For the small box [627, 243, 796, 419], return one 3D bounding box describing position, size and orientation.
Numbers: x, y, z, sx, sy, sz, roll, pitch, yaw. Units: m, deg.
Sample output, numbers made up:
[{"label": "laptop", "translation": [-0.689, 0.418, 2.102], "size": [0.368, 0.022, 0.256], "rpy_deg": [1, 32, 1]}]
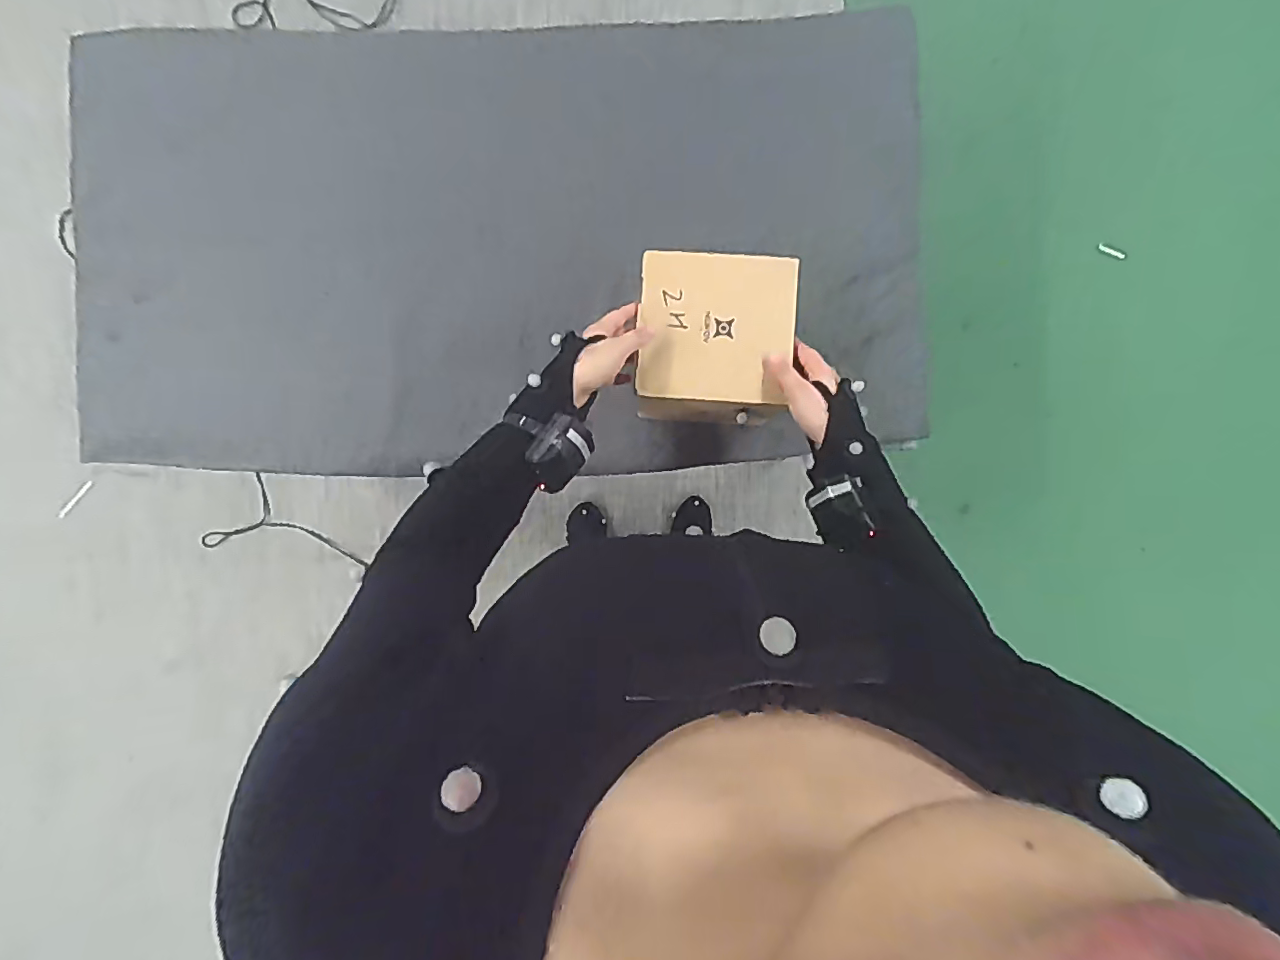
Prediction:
[{"label": "small box", "translation": [0.080, -0.169, 0.666], "size": [0.179, 0.176, 0.168], "rpy_deg": [4, 88, 2]}]
